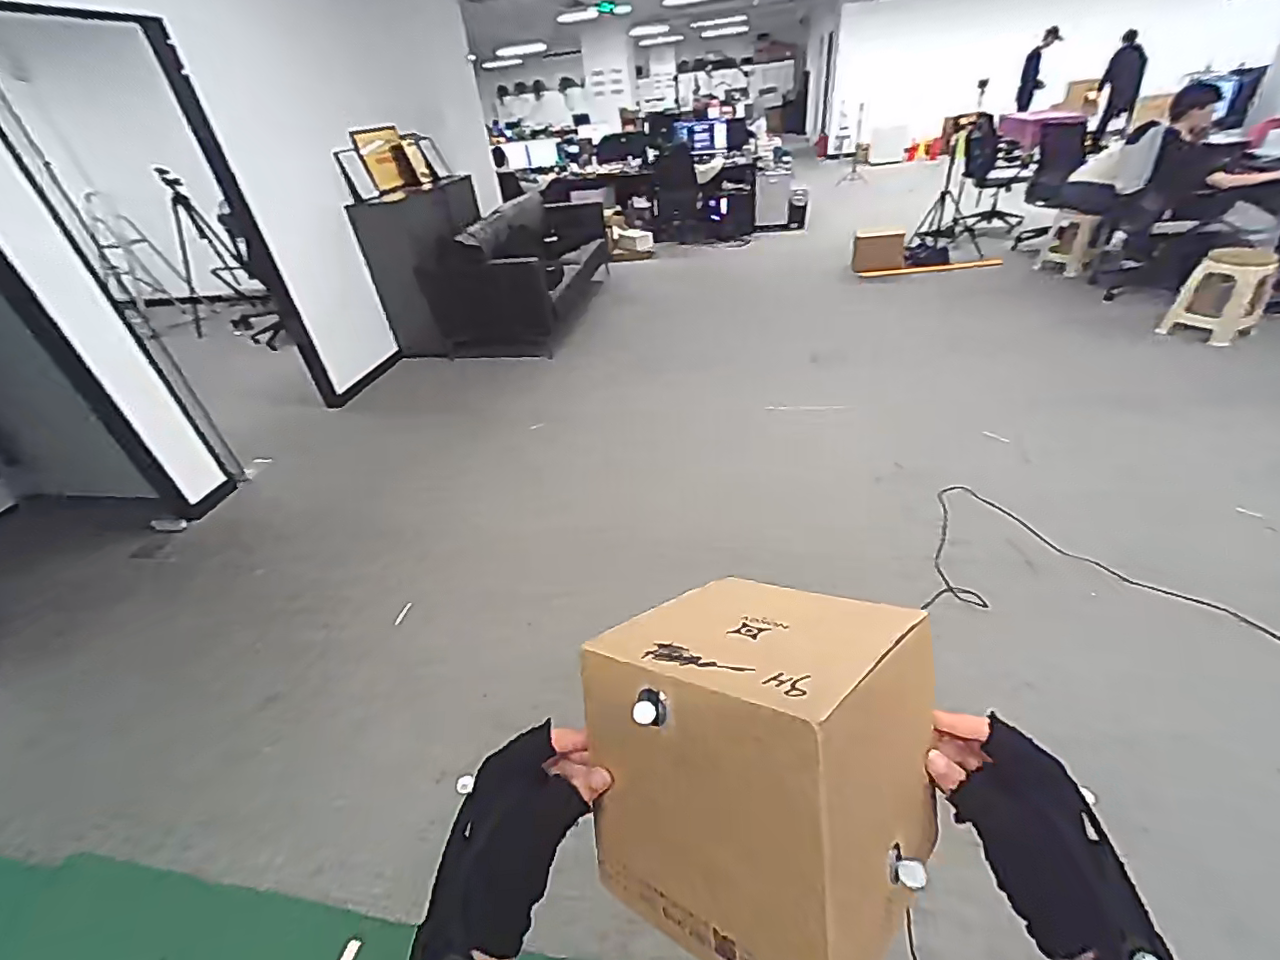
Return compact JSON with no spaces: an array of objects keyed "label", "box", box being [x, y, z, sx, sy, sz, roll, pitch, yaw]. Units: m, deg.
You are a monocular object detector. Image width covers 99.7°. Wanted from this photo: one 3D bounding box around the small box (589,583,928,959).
[{"label":"small box","box":[0.084,0.182,0.371,0.168,0.176,0.179,0,6,43]}]
